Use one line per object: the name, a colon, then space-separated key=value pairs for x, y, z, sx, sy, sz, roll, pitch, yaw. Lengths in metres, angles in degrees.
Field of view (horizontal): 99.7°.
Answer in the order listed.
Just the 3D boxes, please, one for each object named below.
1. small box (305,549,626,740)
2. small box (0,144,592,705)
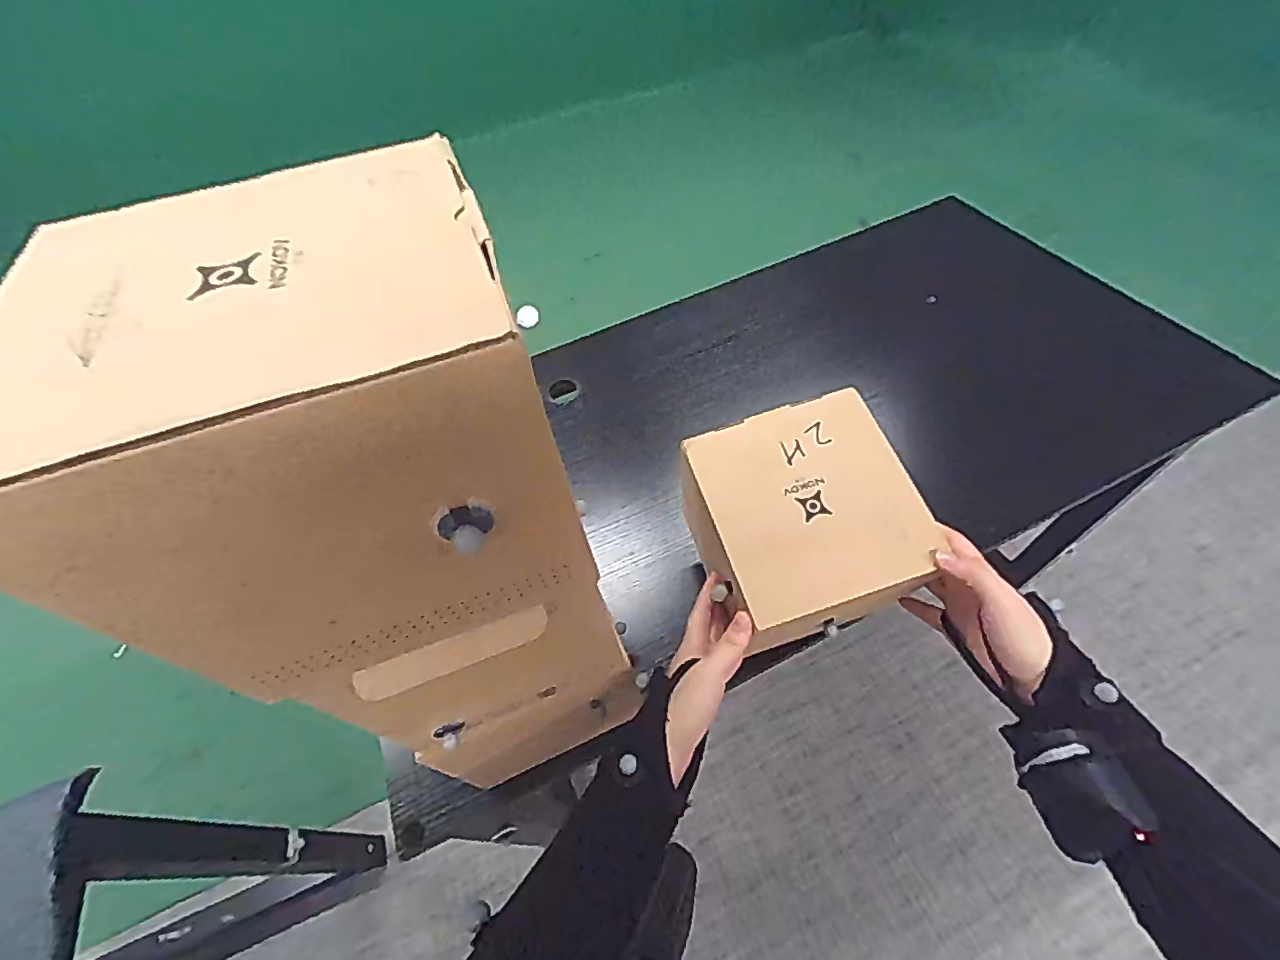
small box: x=-0.118 y=0.068 z=0.394 sx=0.168 sy=0.176 sz=0.179 roll=-20 pitch=54 yaw=-9
small box: x=-0.130 y=-0.021 z=0.258 sx=0.179 sy=0.176 sz=0.168 roll=-20 pitch=53 yaw=-8
